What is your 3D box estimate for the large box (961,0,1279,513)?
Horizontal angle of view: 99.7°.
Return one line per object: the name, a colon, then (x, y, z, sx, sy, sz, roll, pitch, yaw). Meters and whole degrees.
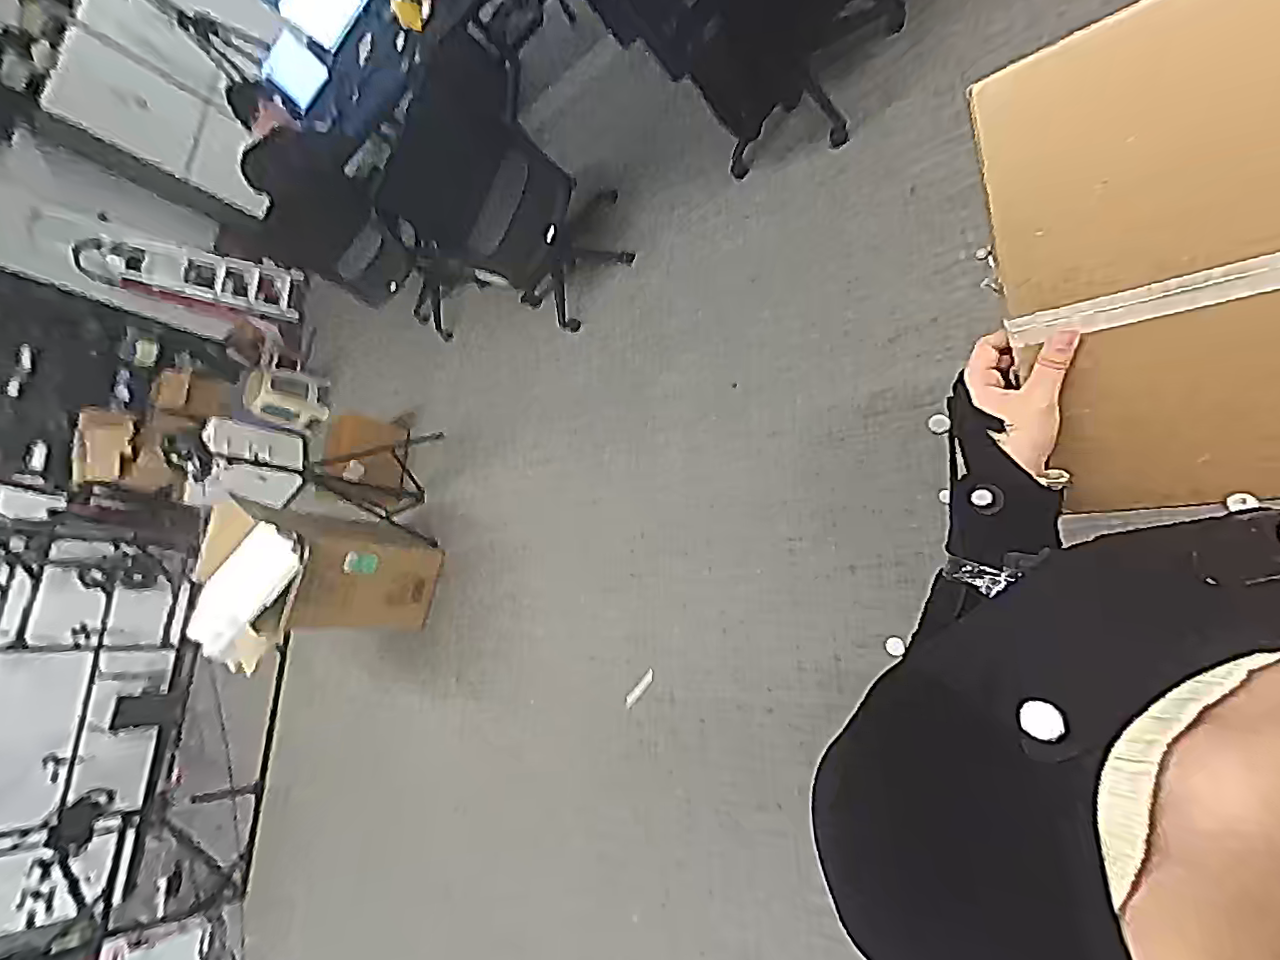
large box: (0.472, -0.208, 0.356, 0.408, 0.320, 0.320, -11, 114, 36)
